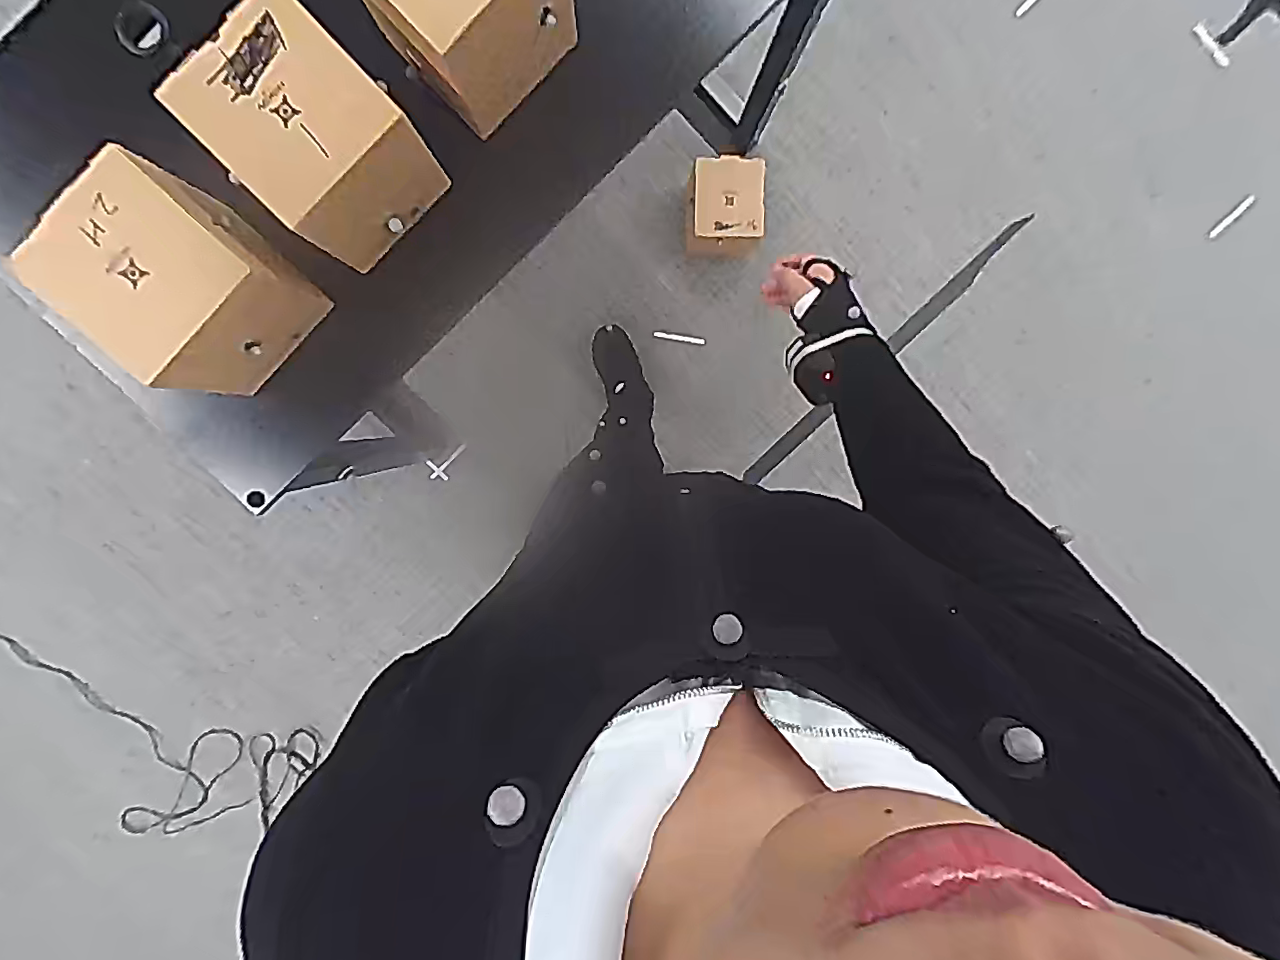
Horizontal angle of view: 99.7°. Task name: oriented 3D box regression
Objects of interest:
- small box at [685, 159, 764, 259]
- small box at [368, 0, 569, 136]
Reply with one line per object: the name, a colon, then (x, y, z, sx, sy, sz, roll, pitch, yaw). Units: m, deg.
small box: (0.203, -0.663, 1.337, 0.168, 0.176, 0.179, -1, 96, -2)
small box: (-0.193, -0.541, 0.601, 0.179, 0.176, 0.168, -44, 95, 3)
